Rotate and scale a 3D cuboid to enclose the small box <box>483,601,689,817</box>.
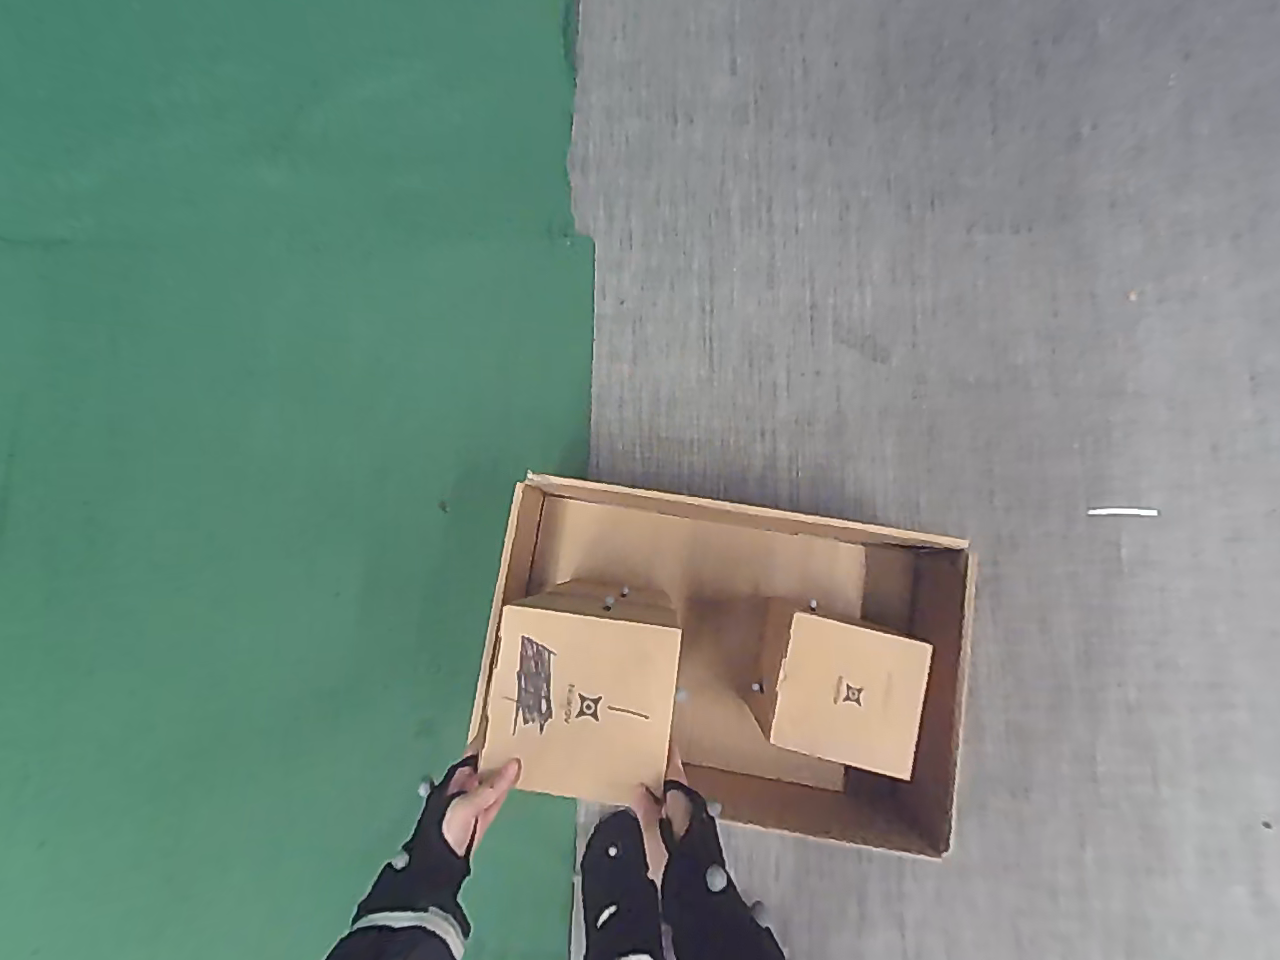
[{"bbox_3d":[-0.047,0.228,0.586,0.179,0.176,0.168,7,82,3],"label":"small box"}]
